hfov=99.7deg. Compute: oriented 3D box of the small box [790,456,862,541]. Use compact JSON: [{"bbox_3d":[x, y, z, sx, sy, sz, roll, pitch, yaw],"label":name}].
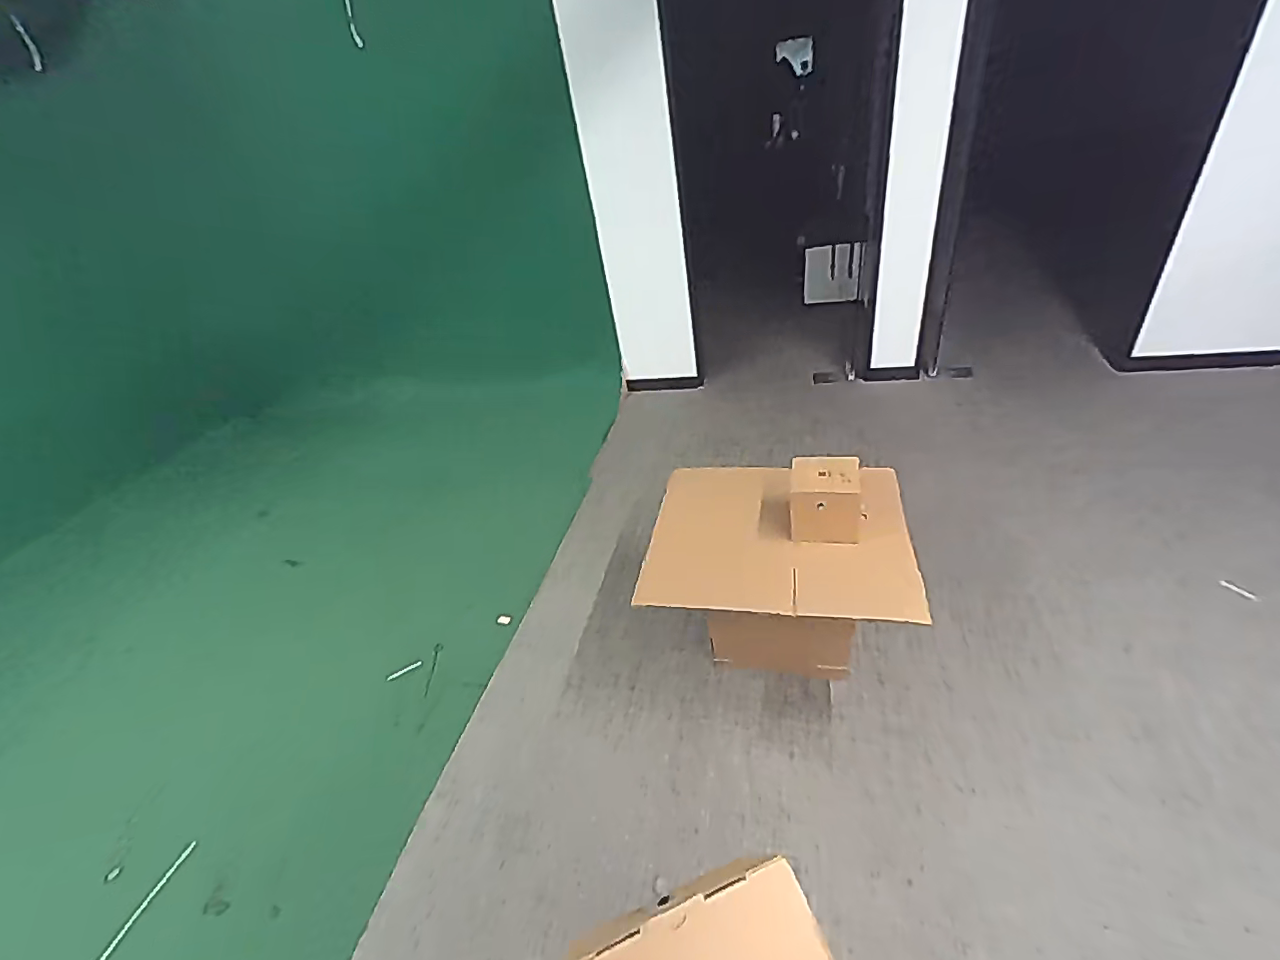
[{"bbox_3d":[0.505,0.051,1.463,0.179,0.176,0.168,0,36,19],"label":"small box"}]
